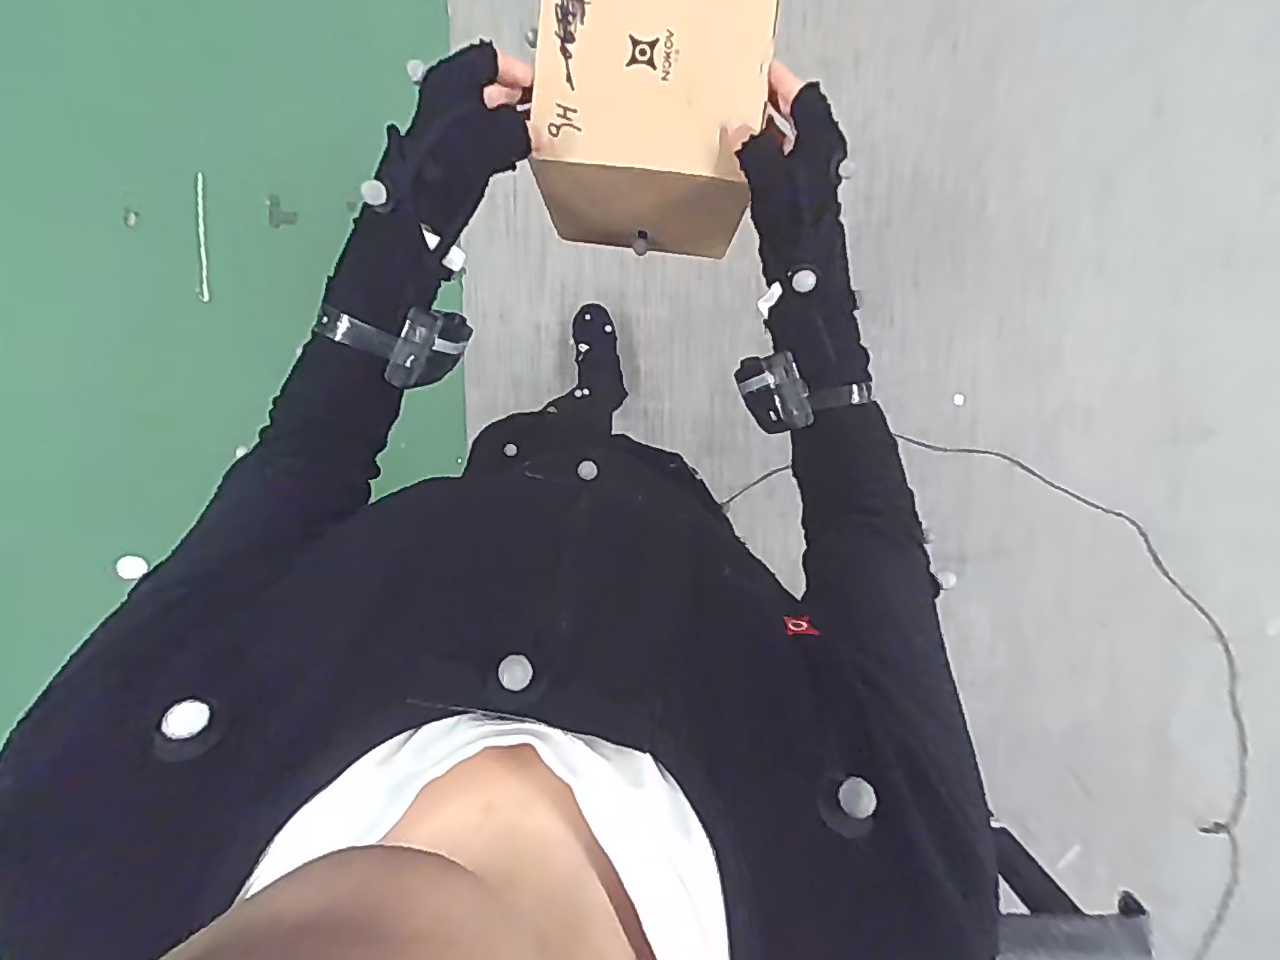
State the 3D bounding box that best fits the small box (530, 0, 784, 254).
[{"bbox_3d":[0.012,-0.317,0.478,0.179,0.176,0.168,7,92,-1],"label":"small box"}]
